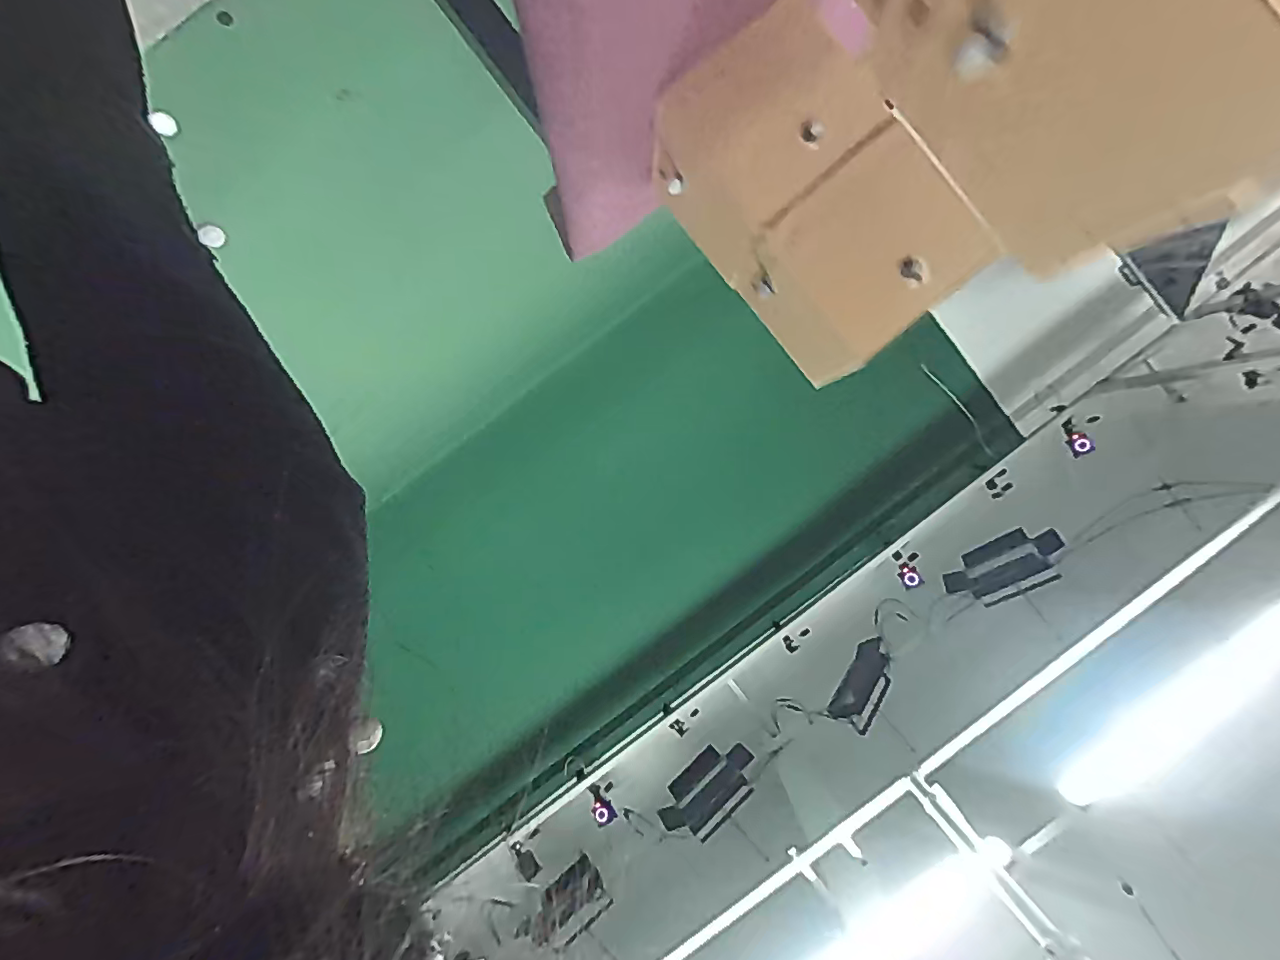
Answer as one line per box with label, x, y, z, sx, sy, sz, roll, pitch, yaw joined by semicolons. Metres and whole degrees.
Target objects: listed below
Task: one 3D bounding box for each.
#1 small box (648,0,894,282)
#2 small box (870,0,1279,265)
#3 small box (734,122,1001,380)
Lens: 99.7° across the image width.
small box;0.130;-0.367;0.605;0.179;0.176;0.168;-39;180;-1
small box;0.236;-0.231;0.220;0.179;0.176;0.168;-38;180;9
small box;0.234;-0.241;0.601;0.179;0.176;0.168;-39;180;2
